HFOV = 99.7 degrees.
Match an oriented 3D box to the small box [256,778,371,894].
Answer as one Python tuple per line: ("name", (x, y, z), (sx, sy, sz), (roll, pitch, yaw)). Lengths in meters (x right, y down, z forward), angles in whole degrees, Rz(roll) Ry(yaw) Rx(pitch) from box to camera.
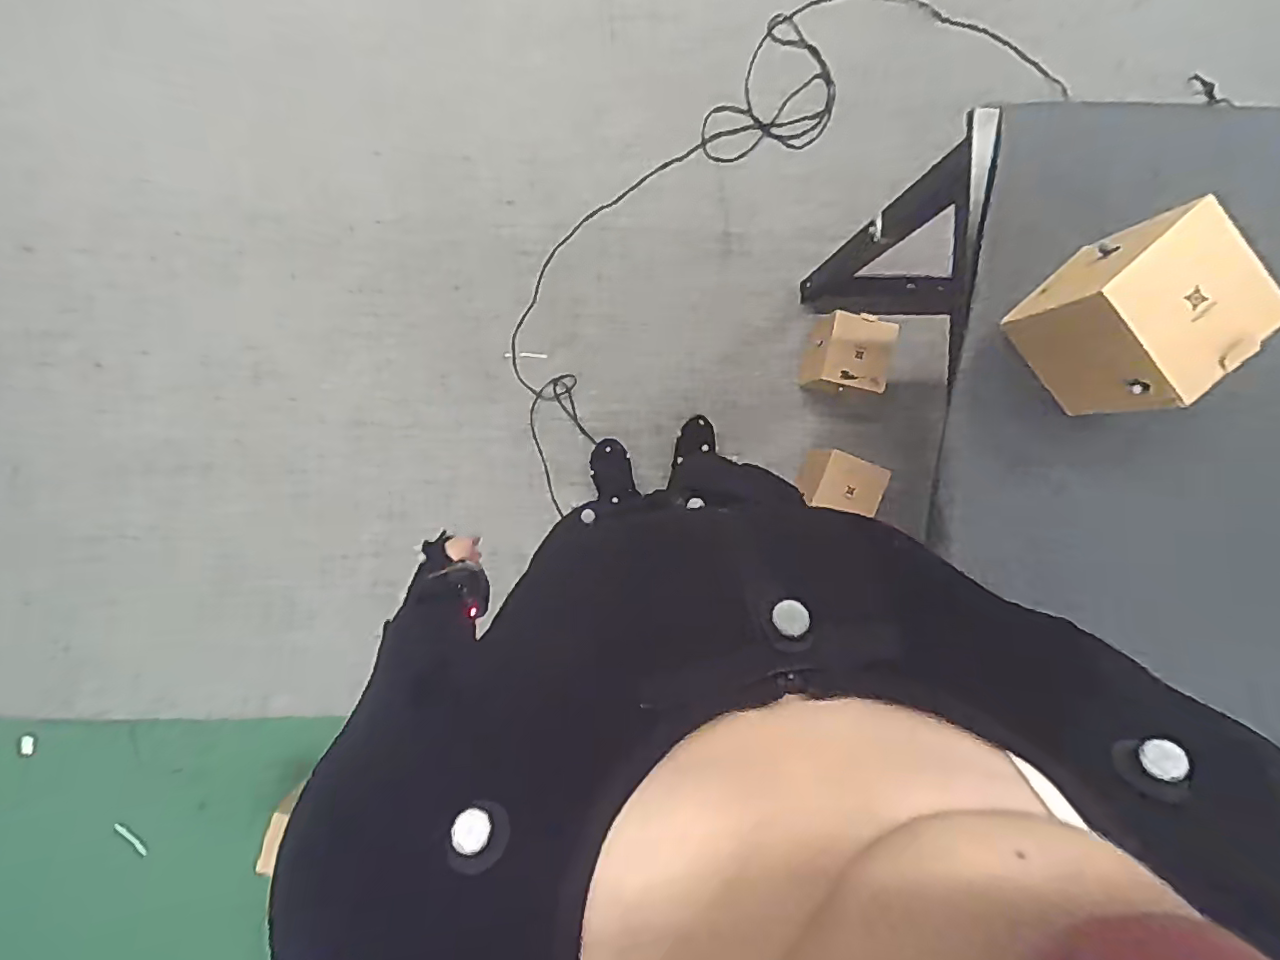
("small box", (-0.842, 0.920, 1.414), (0.179, 0.176, 0.168), (20, 92, -3))

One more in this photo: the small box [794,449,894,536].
("small box", (0.526, 0.029, 1.425), (0.168, 0.176, 0.179), (21, 91, -4))

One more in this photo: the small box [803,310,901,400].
("small box", (0.543, -0.318, 1.406), (0.168, 0.176, 0.179), (12, 92, -3))

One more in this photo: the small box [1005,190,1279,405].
("small box", (0.623, -0.211, 0.686), (0.168, 0.176, 0.179), (-42, 94, 0))
